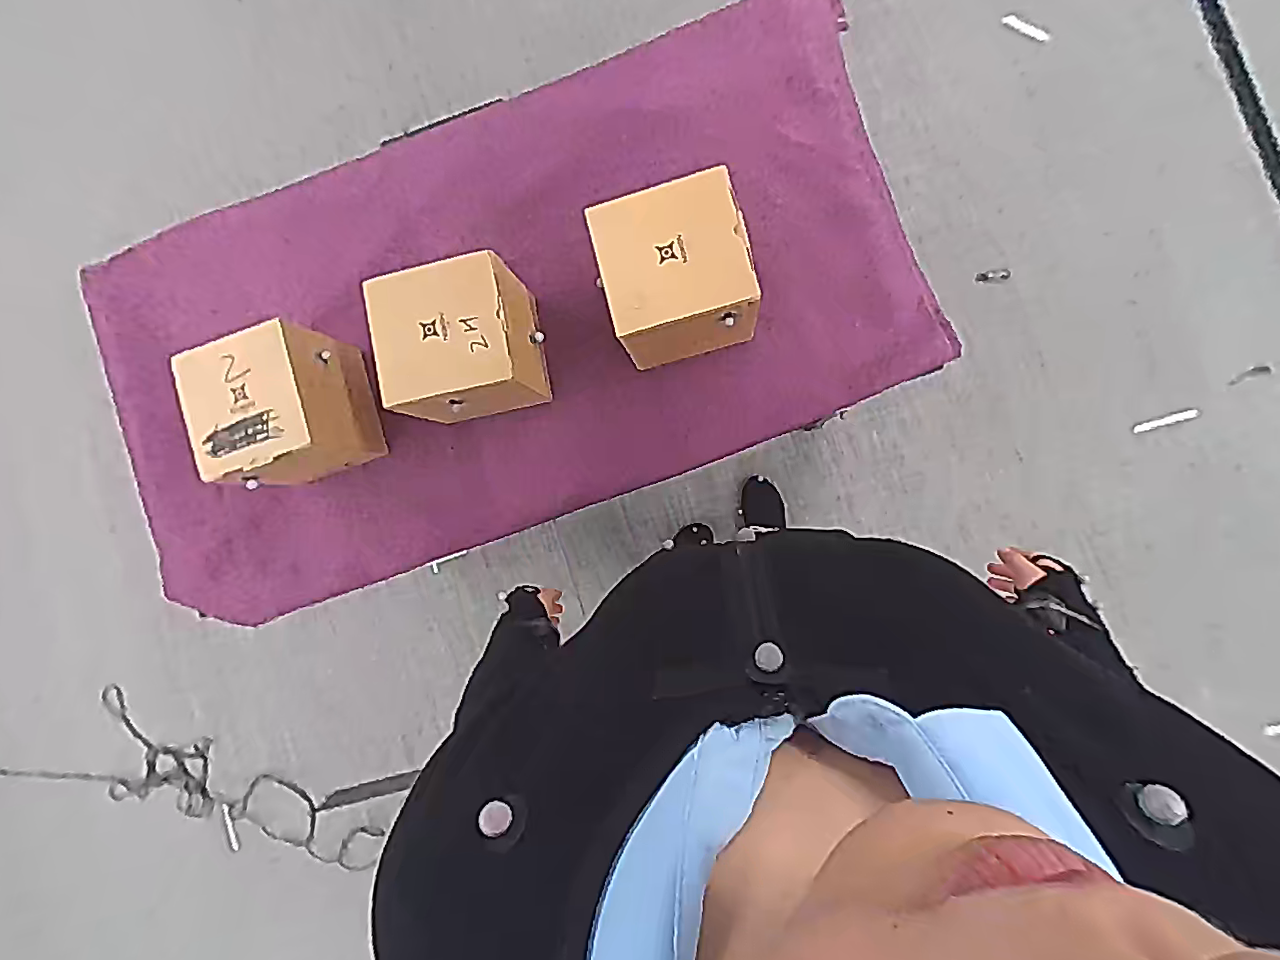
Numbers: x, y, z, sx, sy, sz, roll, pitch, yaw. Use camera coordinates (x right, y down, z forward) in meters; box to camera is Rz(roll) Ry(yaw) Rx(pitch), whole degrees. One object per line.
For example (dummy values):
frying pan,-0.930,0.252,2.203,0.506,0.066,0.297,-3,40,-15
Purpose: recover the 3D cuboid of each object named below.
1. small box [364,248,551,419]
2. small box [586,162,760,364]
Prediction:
small box,-0.239,-0.186,0.742,0.179,0.176,0.168,-11,88,6
small box,0.047,-0.267,0.709,0.179,0.176,0.168,-15,86,6
